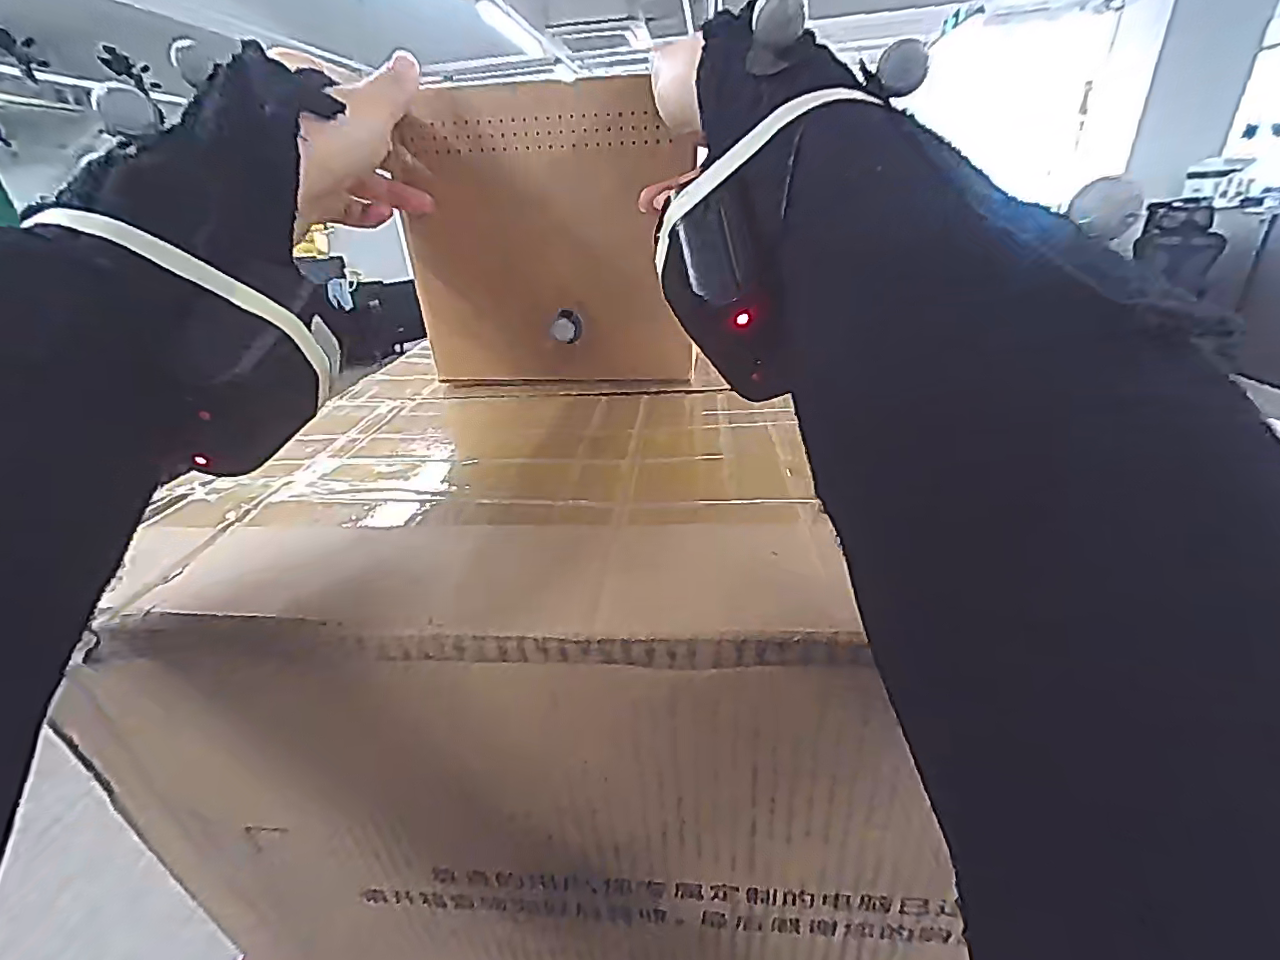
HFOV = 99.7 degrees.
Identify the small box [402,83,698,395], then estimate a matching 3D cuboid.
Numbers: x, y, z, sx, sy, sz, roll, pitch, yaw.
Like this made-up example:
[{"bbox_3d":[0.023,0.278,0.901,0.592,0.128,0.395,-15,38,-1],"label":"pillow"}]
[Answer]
[{"bbox_3d":[-0.048,-0.170,0.392,0.179,0.176,0.168,1,31,7],"label":"small box"}]
